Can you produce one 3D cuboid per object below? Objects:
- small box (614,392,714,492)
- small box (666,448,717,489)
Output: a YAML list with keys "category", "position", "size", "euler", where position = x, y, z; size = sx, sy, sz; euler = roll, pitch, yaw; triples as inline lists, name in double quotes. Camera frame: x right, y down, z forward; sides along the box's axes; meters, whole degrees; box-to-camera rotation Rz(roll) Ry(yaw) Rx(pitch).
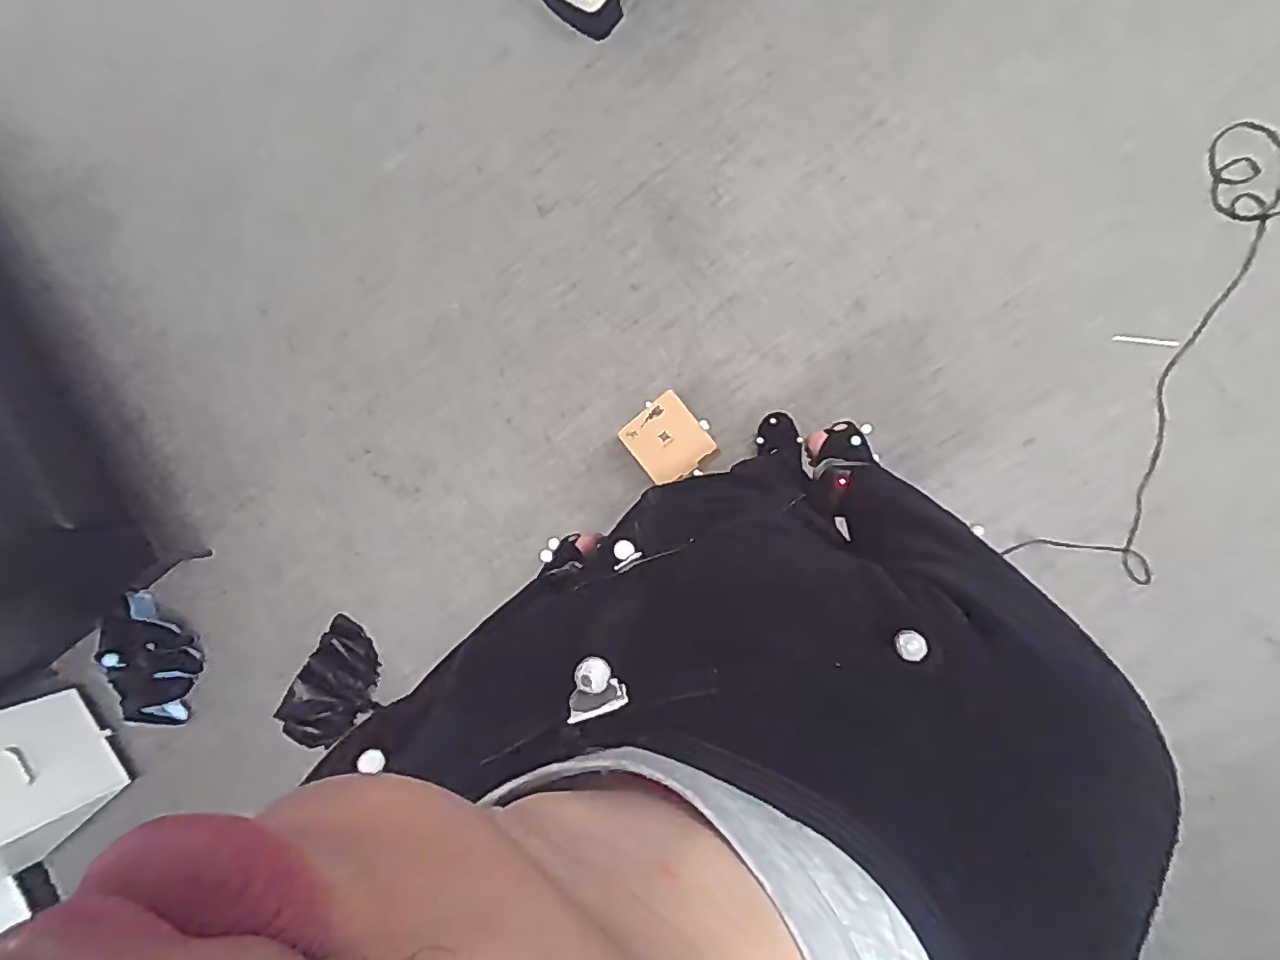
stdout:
- category: "small box"
  position: [0.067, -0.092, 1.322]
  size: [0.168, 0.176, 0.179]
  euler: [-39, 84, 9]
- category: "small box"
  position: [0.094, -0.090, 1.483]
  size: [0.168, 0.176, 0.179]
  euler: [-41, 84, 9]
